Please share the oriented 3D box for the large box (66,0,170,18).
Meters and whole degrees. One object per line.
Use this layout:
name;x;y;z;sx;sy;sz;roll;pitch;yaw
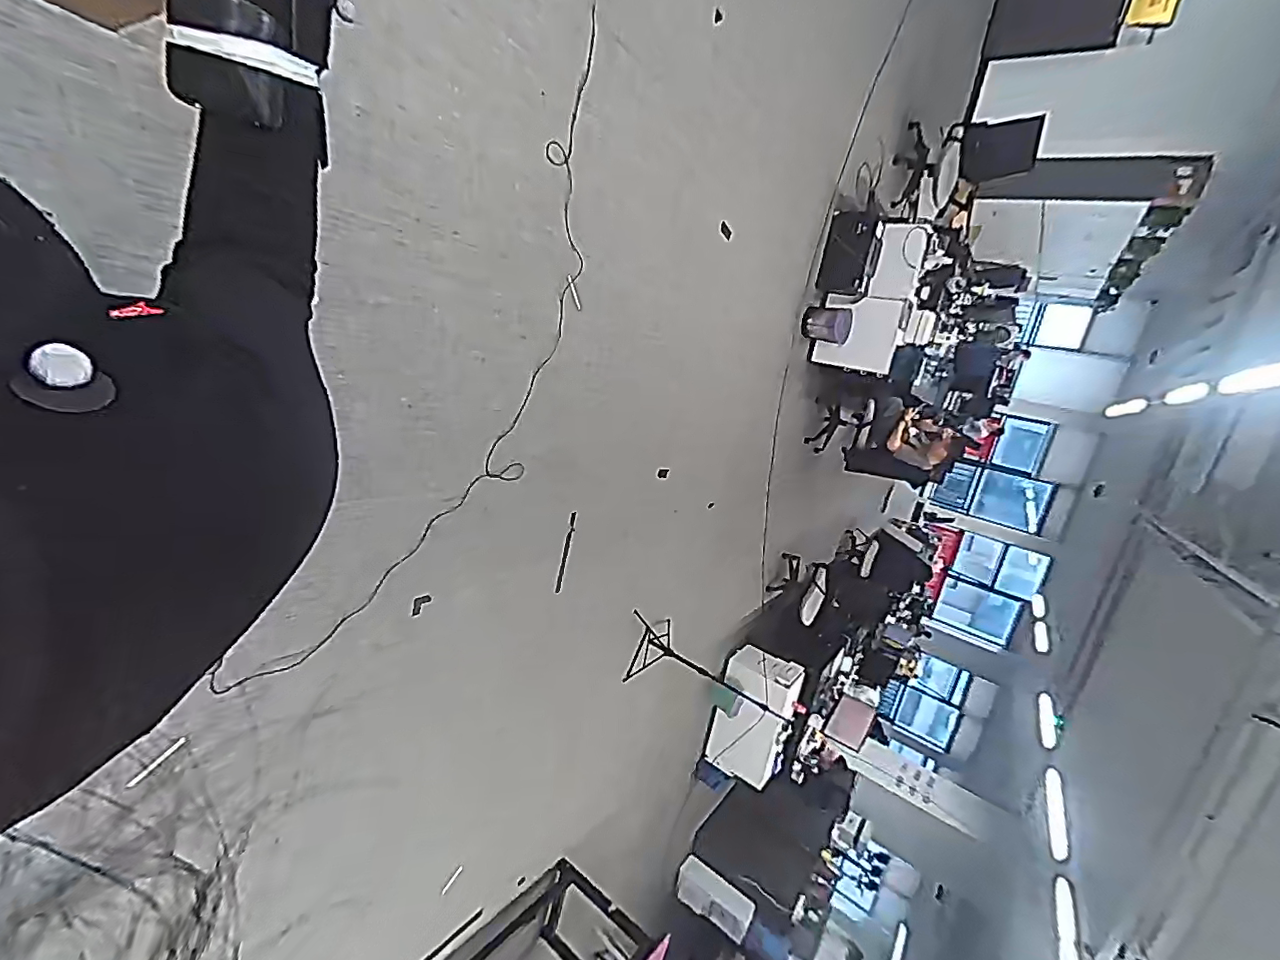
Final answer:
large box;-0.430;-0.486;0.208;0.408;0.320;0.320;-3;115;-55
